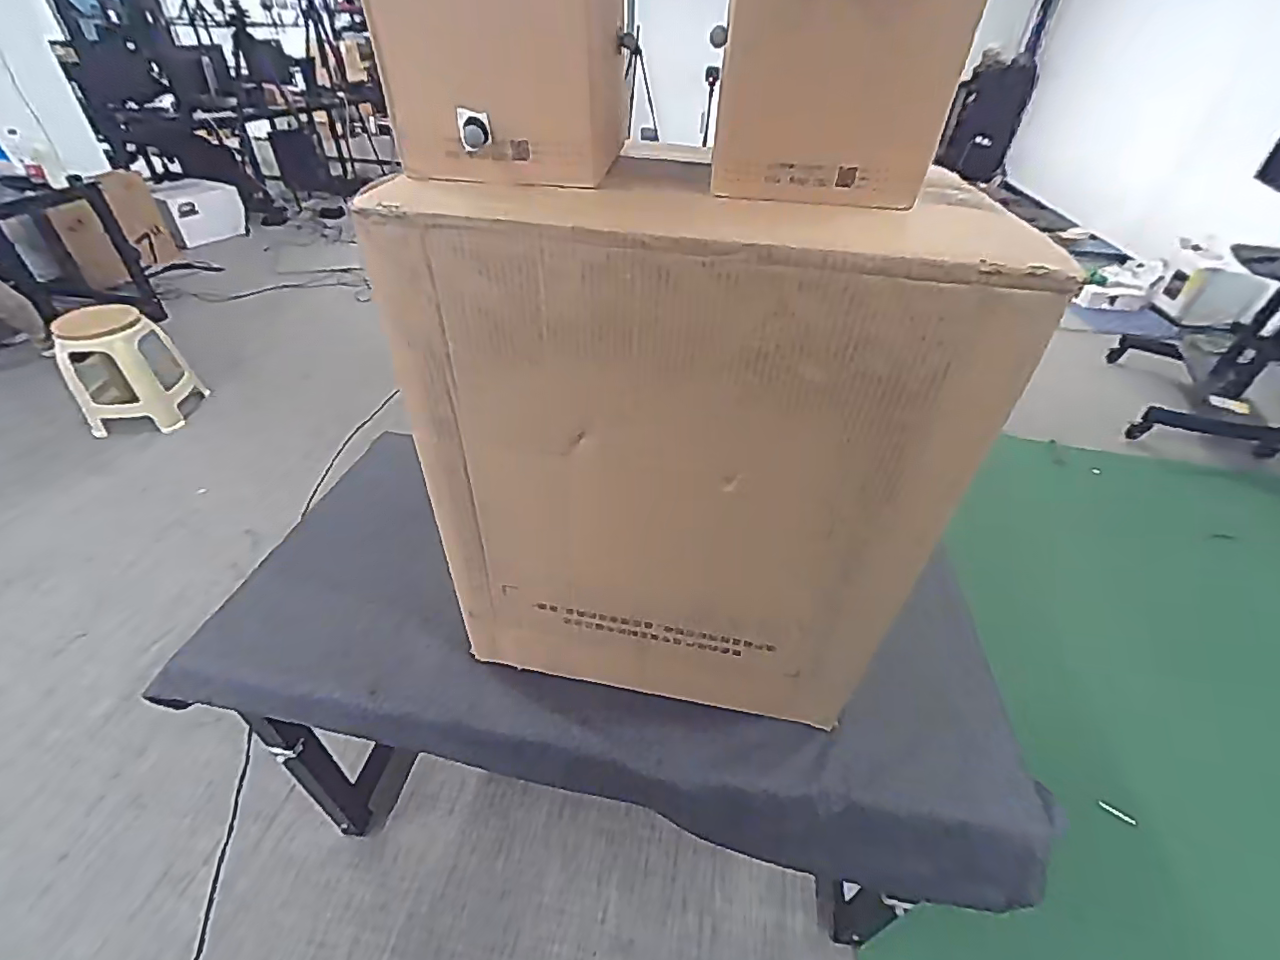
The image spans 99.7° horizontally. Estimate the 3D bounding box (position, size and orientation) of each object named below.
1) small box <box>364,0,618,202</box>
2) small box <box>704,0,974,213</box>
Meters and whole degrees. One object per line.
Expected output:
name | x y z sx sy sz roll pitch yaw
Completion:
small box | -0.111 -0.353 0.461 0.168 0.176 0.179 3 43 5
small box | 0.143 -0.339 0.449 0.168 0.176 0.179 4 41 4
